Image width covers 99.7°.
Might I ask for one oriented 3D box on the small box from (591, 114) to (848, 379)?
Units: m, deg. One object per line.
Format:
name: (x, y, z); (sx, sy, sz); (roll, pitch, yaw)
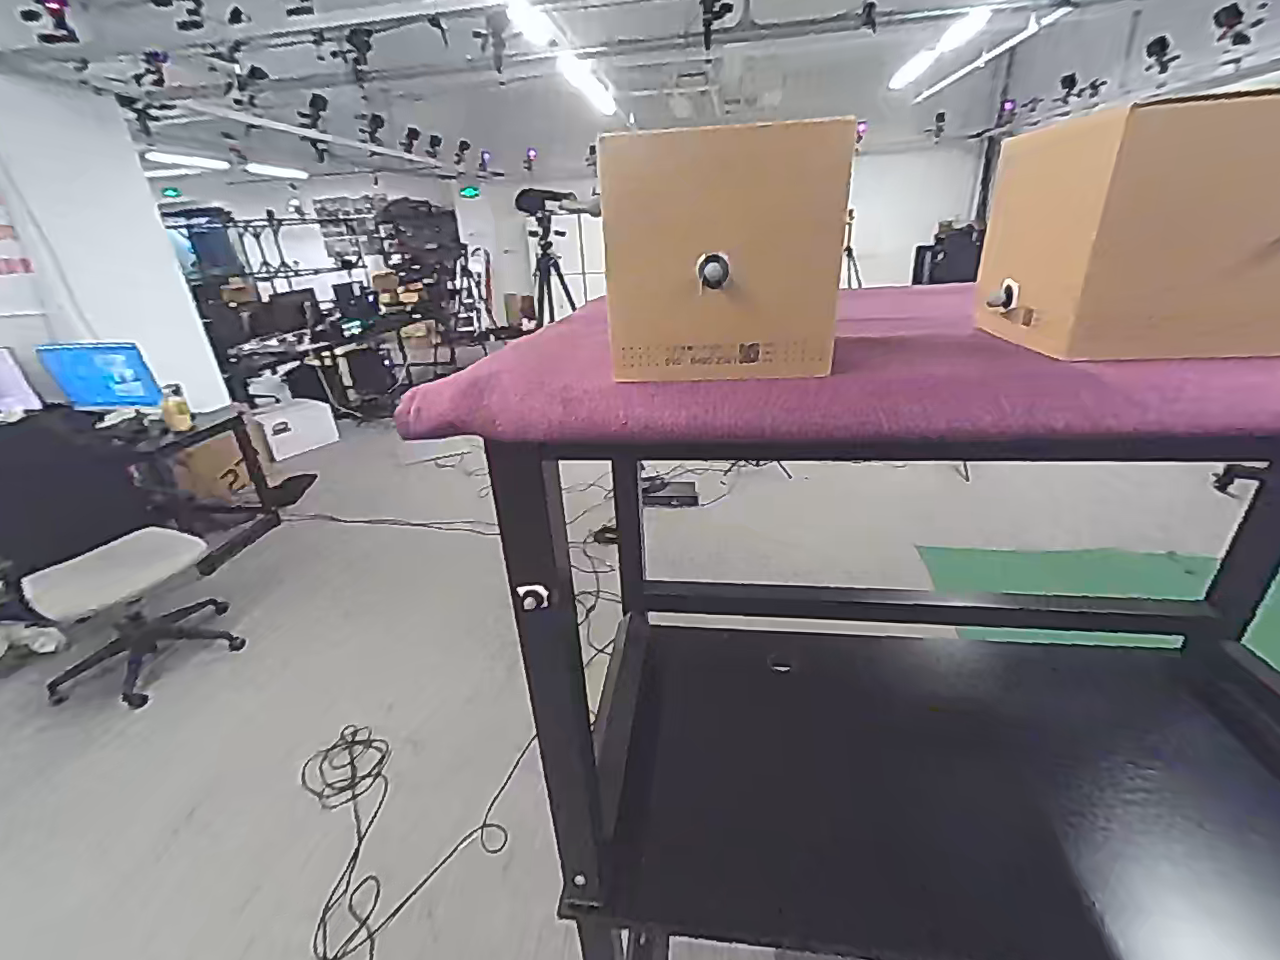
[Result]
small box: (0.061, -0.184, 0.447); (0.168, 0.176, 0.179); (0, 26, 6)

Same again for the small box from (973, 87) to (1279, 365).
small box: (0.403, -0.194, 0.430); (0.179, 0.176, 0.168); (-2, 25, 7)
